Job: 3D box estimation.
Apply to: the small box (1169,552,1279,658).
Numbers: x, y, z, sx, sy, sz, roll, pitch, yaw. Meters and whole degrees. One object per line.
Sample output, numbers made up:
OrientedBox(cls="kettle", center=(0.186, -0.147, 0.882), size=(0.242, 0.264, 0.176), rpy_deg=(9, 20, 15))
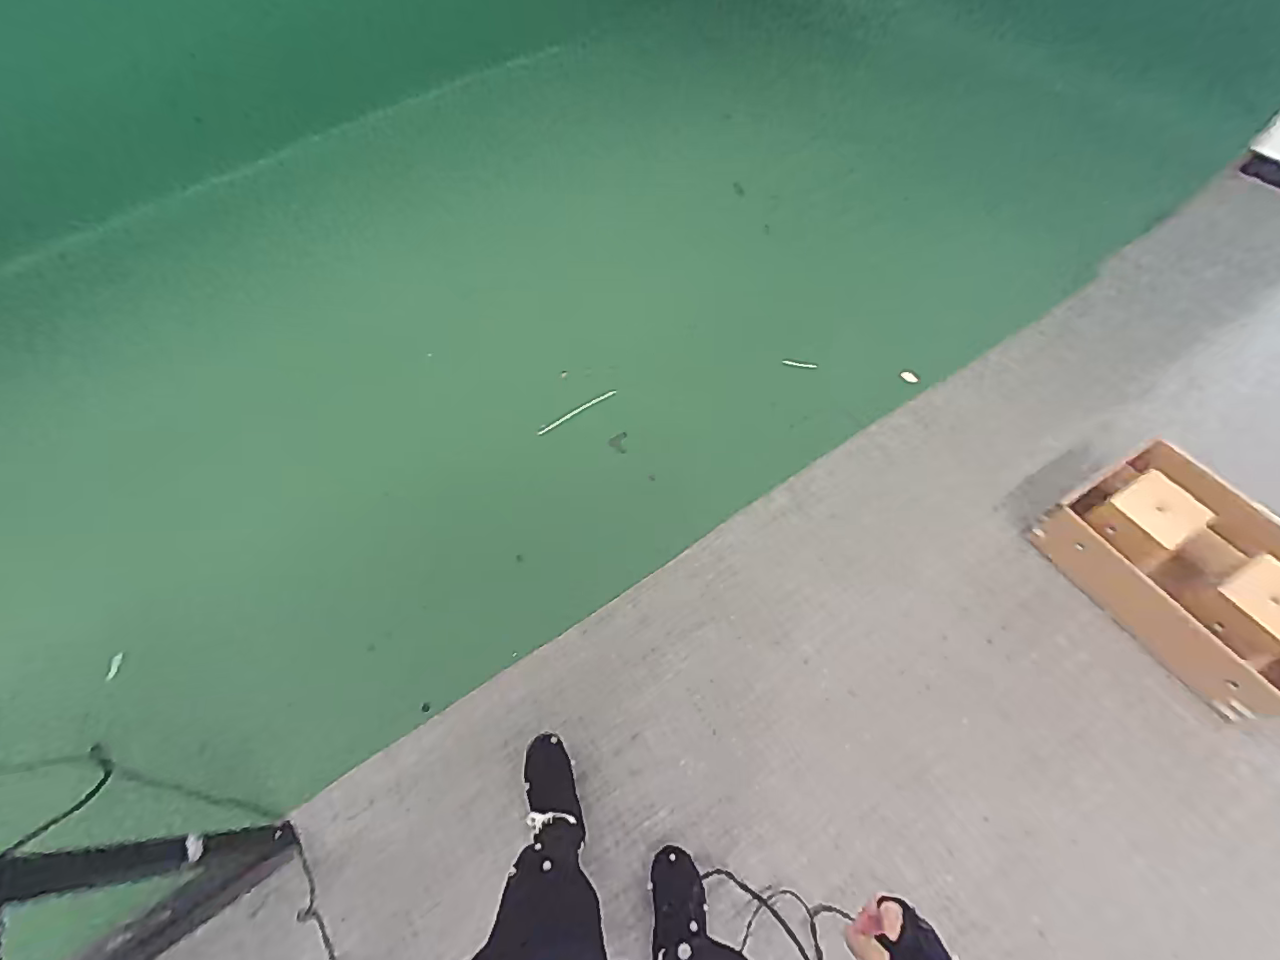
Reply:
OrientedBox(cls="small box", center=(1.467, 0.311, 1.319), size=(0.179, 0.176, 0.168), rpy_deg=(-29, 62, -10))

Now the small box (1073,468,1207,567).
OrientedBox(cls="small box", center=(1.318, 0.107, 1.446), size=(0.179, 0.176, 0.168), rpy_deg=(-30, 63, -12))
